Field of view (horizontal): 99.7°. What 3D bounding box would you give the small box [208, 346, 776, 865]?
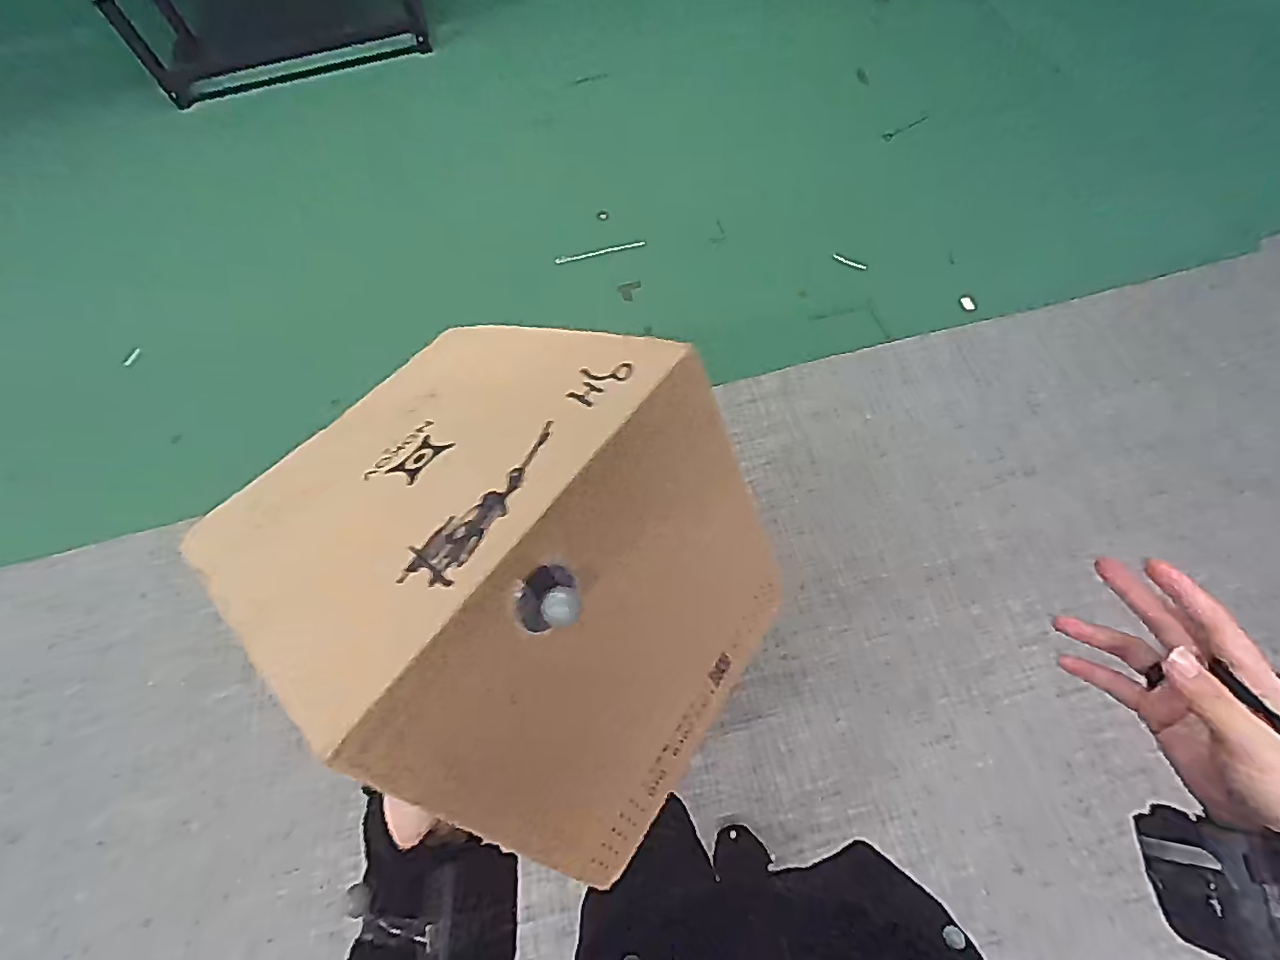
[{"bbox_3d":[-0.057,0.052,0.274,0.179,0.176,0.168,15,57,40],"label":"small box"}]
